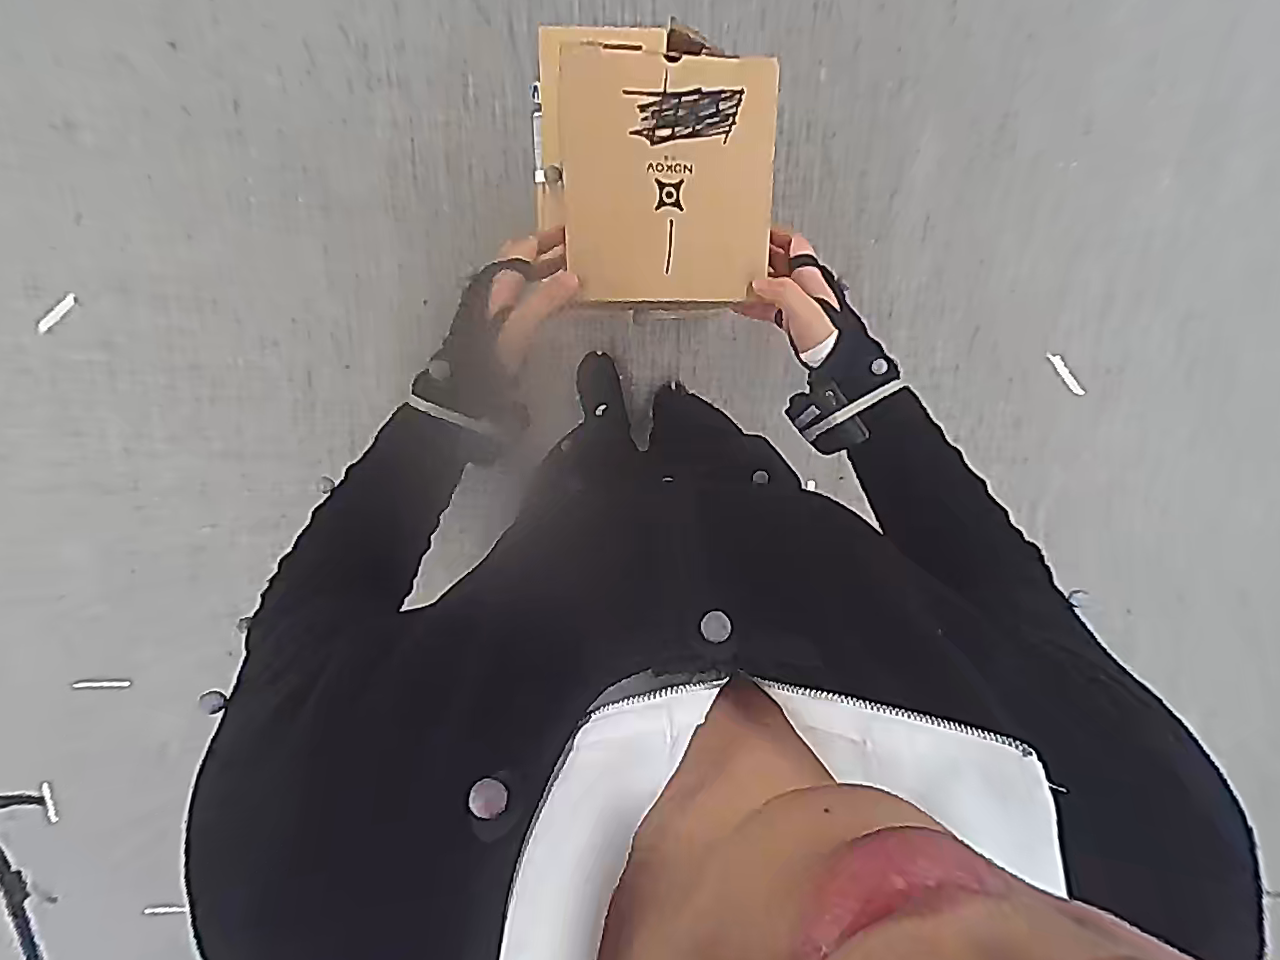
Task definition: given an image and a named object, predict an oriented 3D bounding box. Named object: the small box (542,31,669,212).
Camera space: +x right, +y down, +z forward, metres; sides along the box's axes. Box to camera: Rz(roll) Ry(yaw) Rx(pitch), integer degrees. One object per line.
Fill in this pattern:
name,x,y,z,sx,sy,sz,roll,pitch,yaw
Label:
small box,-0.048,-0.507,0.788,0.168,0.176,0.179,0,105,-1
